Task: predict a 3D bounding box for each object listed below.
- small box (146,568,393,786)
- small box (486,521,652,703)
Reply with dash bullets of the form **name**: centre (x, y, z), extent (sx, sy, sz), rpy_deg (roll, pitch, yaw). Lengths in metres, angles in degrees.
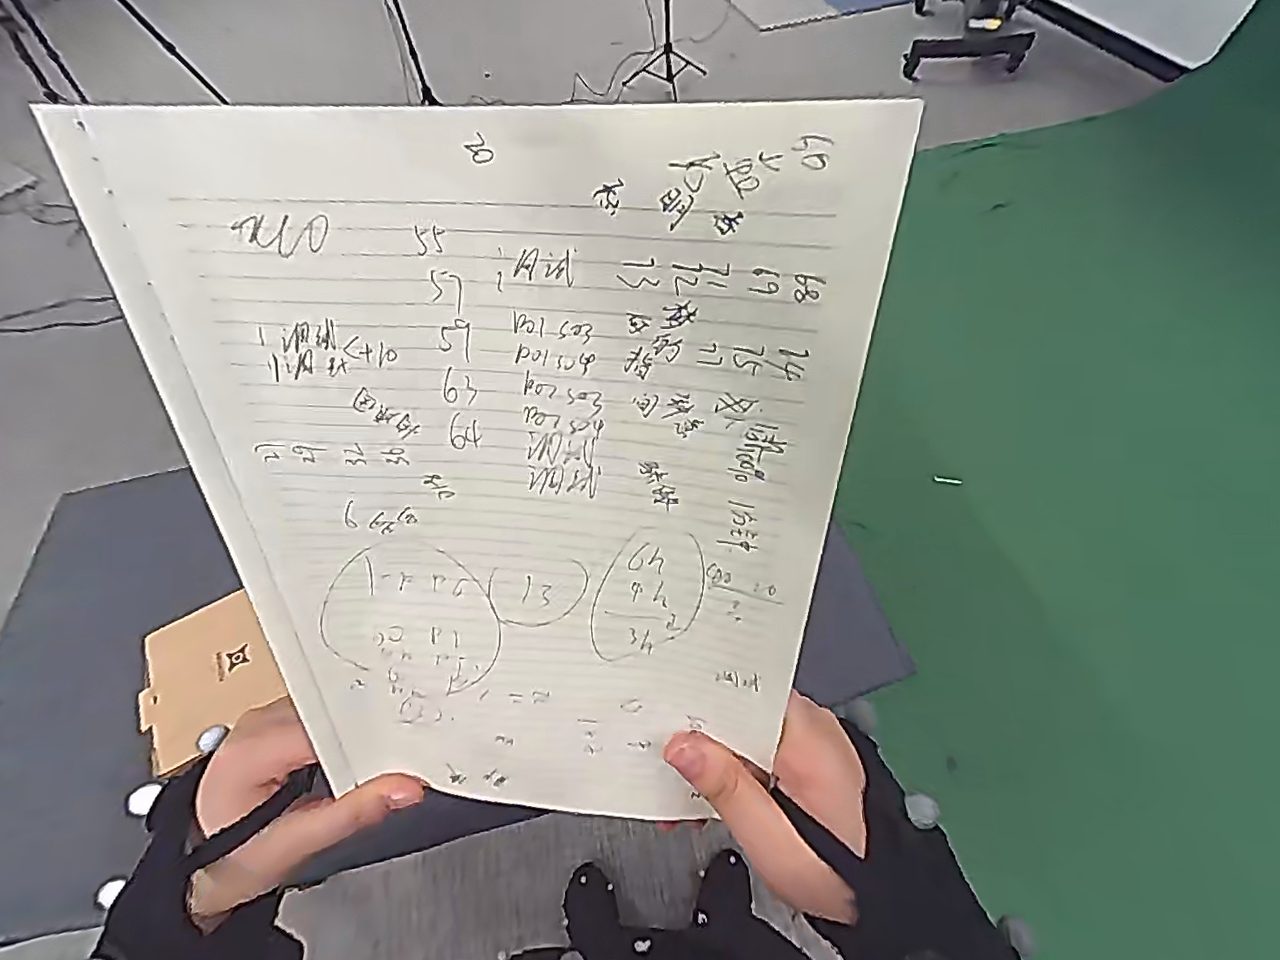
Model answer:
- **small box**: centre (-0.437, 0.244, 0.655), extent (0.179, 0.176, 0.168), rpy_deg (-28, 60, -15)
- **small box**: centre (-0.073, 0.166, 0.671), extent (0.168, 0.176, 0.179), rpy_deg (-2, 57, 4)
